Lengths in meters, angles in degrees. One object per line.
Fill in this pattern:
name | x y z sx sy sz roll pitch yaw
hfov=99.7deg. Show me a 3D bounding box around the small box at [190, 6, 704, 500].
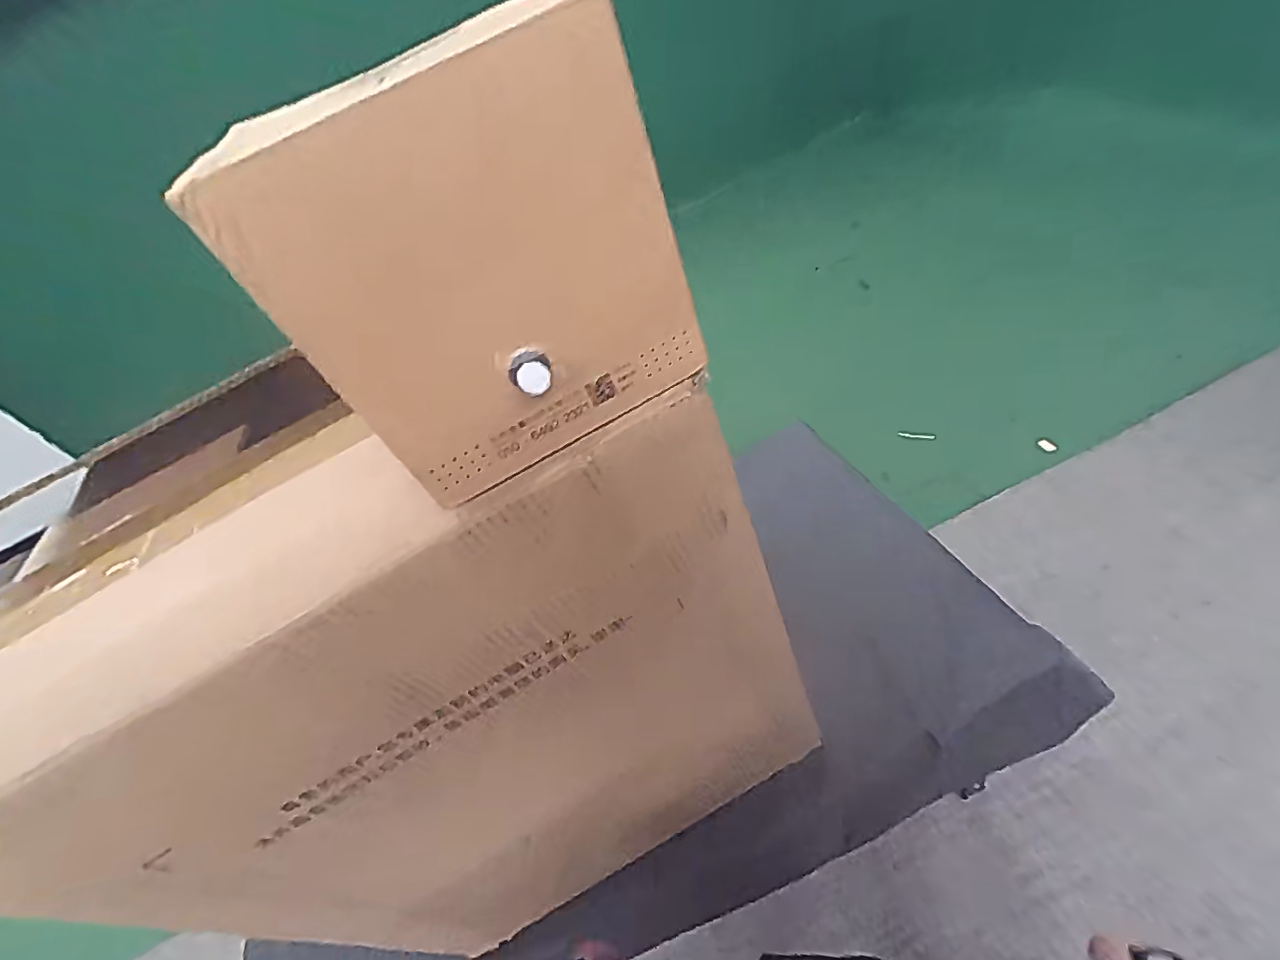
small box | -0.086 -0.122 0.300 0.168 0.176 0.179 -29 45 -4
